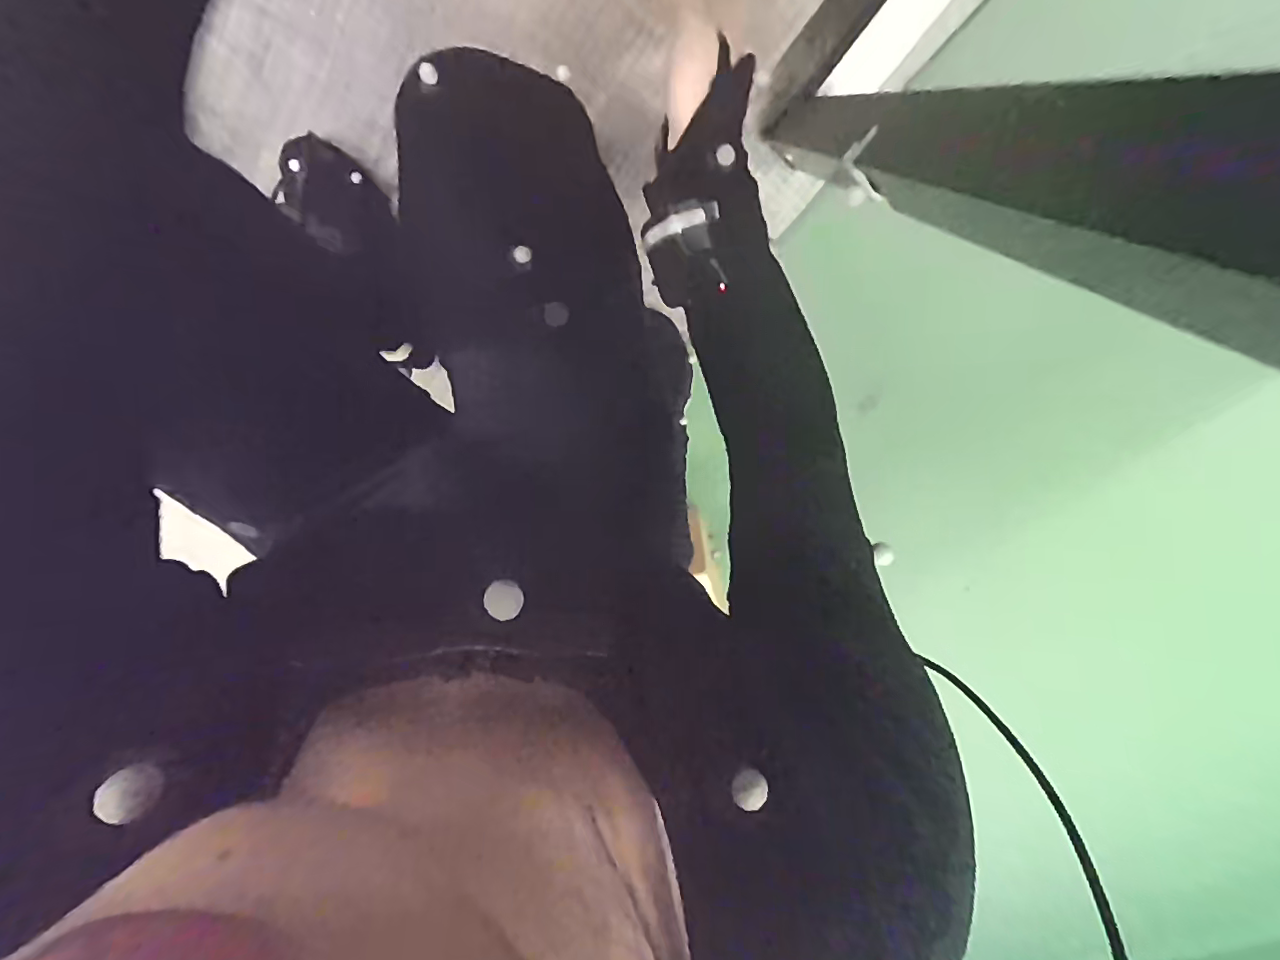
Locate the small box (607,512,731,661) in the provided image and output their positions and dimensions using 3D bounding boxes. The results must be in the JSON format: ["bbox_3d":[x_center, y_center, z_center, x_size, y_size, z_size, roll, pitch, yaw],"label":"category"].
[{"bbox_3d":[0.048,0.172,0.918,0.168,0.176,0.179,-14,123,10],"label":"small box"}]
